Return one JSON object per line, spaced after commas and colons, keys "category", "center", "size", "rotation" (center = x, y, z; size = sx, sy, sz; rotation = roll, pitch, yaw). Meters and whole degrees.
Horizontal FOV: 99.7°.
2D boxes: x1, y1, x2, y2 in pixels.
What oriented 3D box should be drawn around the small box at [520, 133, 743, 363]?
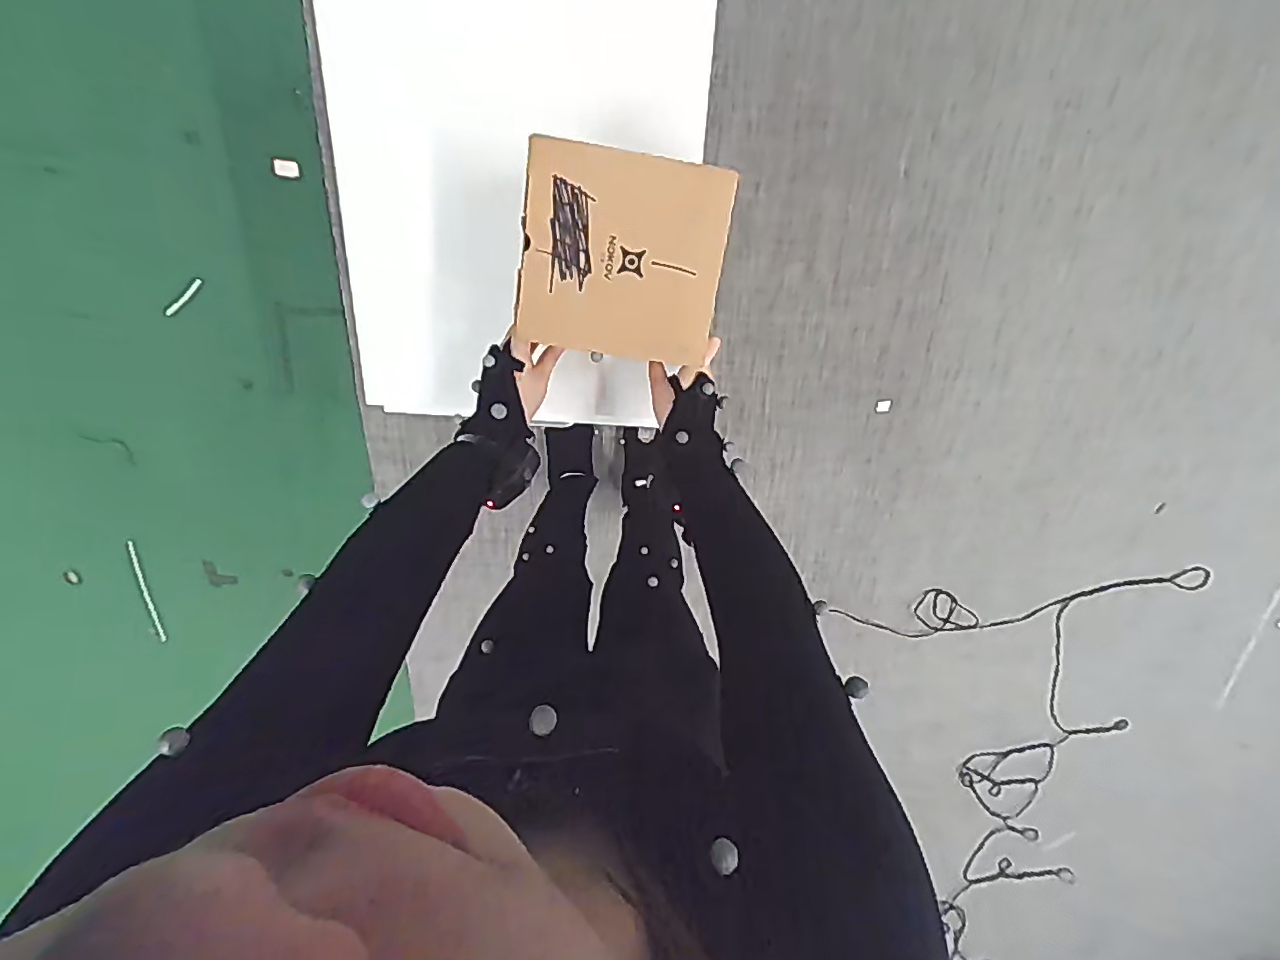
{"category": "small box", "center": [-0.013, -0.222, 0.548], "size": [0.179, 0.176, 0.168], "rotation": [8, 109, -5]}
